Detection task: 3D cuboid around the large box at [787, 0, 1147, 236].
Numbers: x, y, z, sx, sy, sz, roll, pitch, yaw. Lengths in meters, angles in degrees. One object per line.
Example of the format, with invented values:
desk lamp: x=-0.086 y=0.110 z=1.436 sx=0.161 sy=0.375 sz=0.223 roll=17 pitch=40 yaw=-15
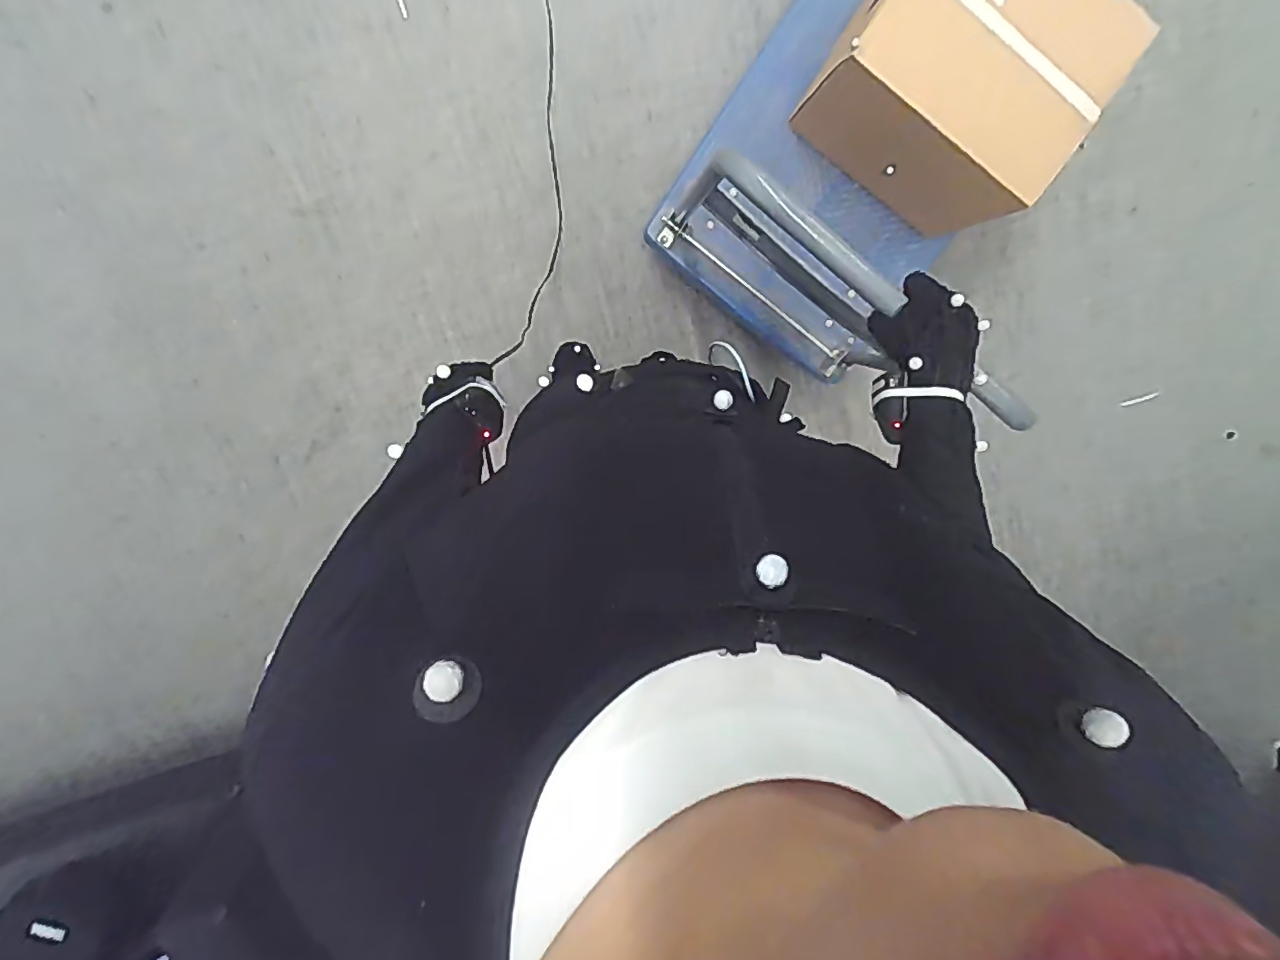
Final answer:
large box: x=0.558 y=-0.718 z=1.000 sx=0.408 sy=0.320 sz=0.320 roll=30 pitch=101 yaw=-10
